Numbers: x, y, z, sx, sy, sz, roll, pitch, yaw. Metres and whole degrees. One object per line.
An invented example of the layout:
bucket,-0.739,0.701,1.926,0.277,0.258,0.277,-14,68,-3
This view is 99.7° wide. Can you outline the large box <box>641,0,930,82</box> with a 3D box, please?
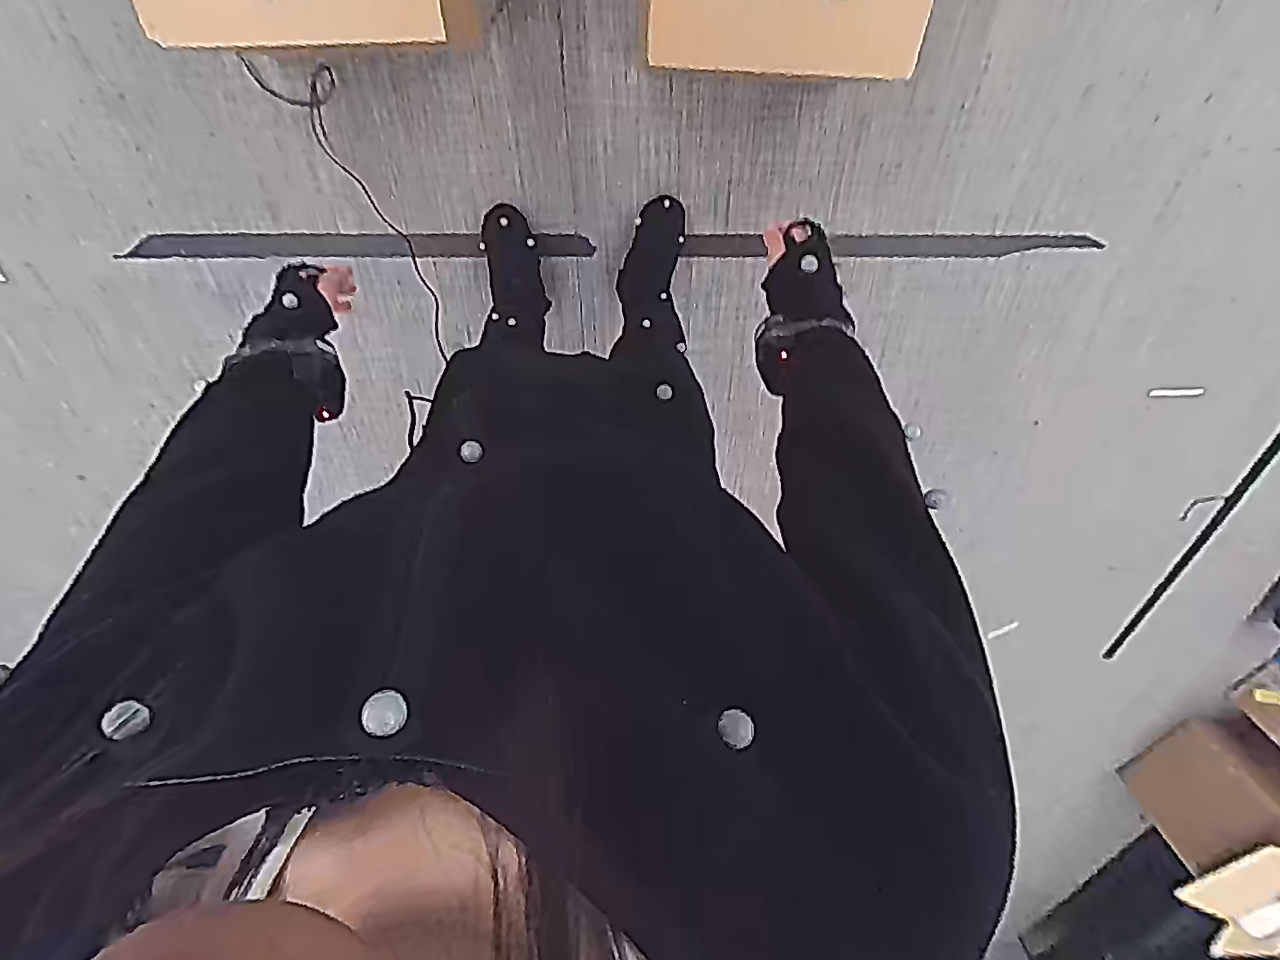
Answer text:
large box,0.212,-0.826,0.846,0.408,0.320,0.320,0,126,-5
